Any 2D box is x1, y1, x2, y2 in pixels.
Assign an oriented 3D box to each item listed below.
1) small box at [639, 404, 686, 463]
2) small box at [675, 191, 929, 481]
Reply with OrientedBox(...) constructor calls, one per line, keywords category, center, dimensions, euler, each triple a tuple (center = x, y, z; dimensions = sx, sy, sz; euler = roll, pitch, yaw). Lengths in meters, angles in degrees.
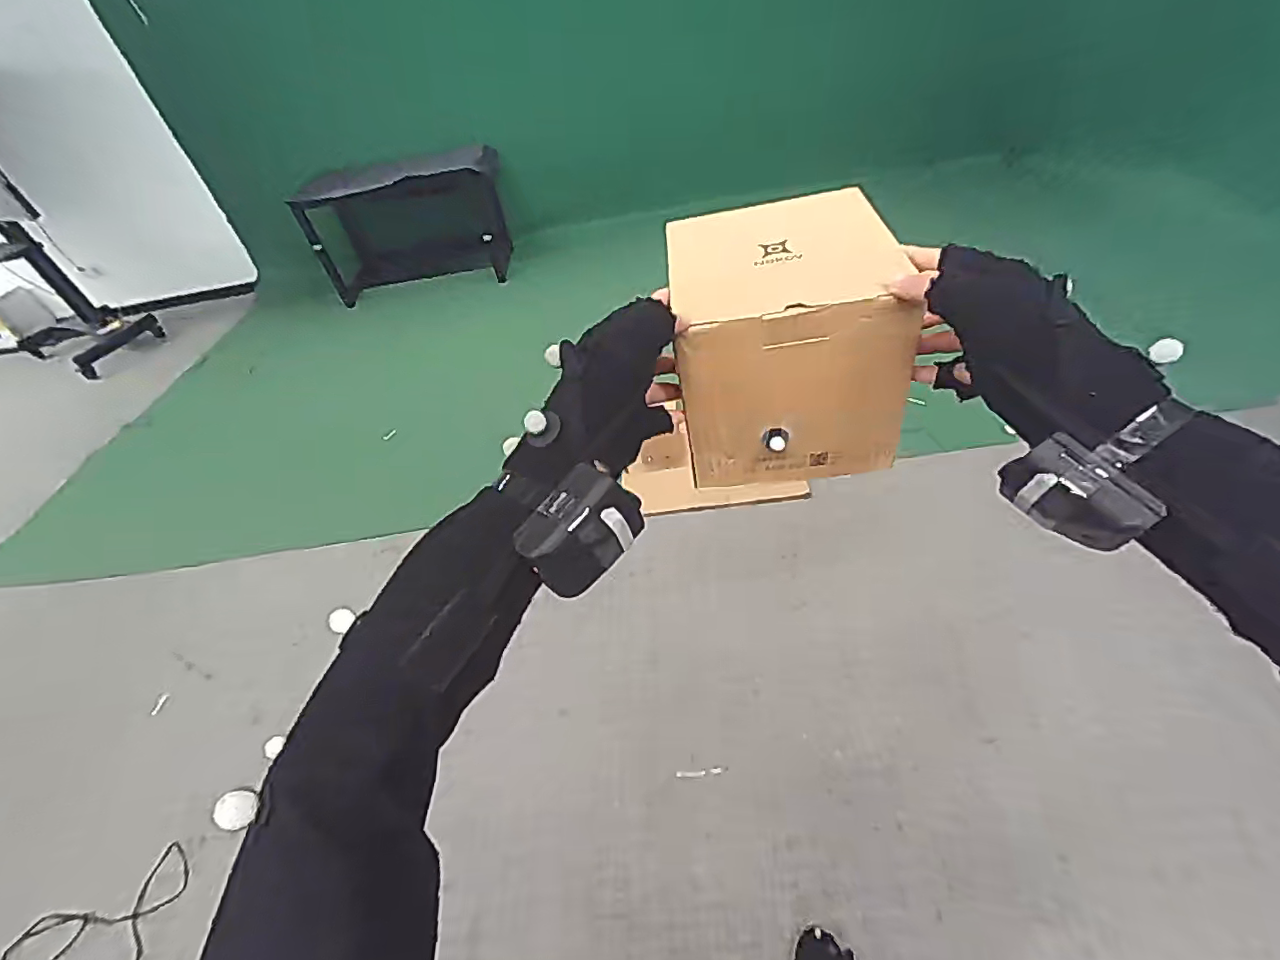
OrientedBox(category="small box", center=(0.093, -0.181, 2.201), dimensions=(0.168, 0.176, 0.179), euler=(-7, 42, 7))
OrientedBox(category="small box", center=(0.121, -0.122, 0.472), dimensions=(0.168, 0.176, 0.179), euler=(-6, 47, 8))
